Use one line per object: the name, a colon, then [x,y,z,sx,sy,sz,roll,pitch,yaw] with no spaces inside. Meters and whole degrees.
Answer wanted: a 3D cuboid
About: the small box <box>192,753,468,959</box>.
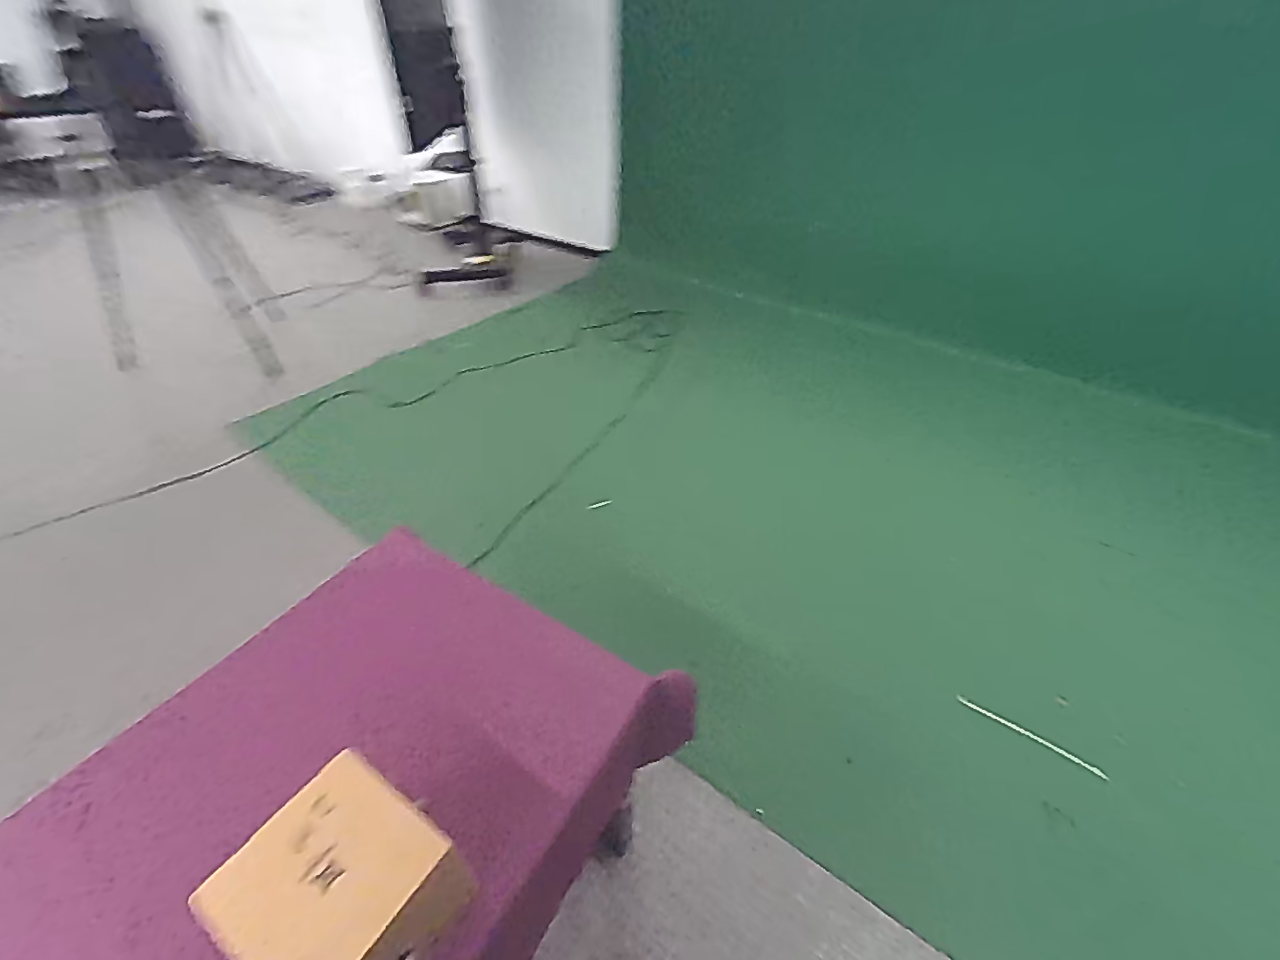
small box: [-0.310,0.443,0.578,0.179,0.176,0.168,23,44,24]
